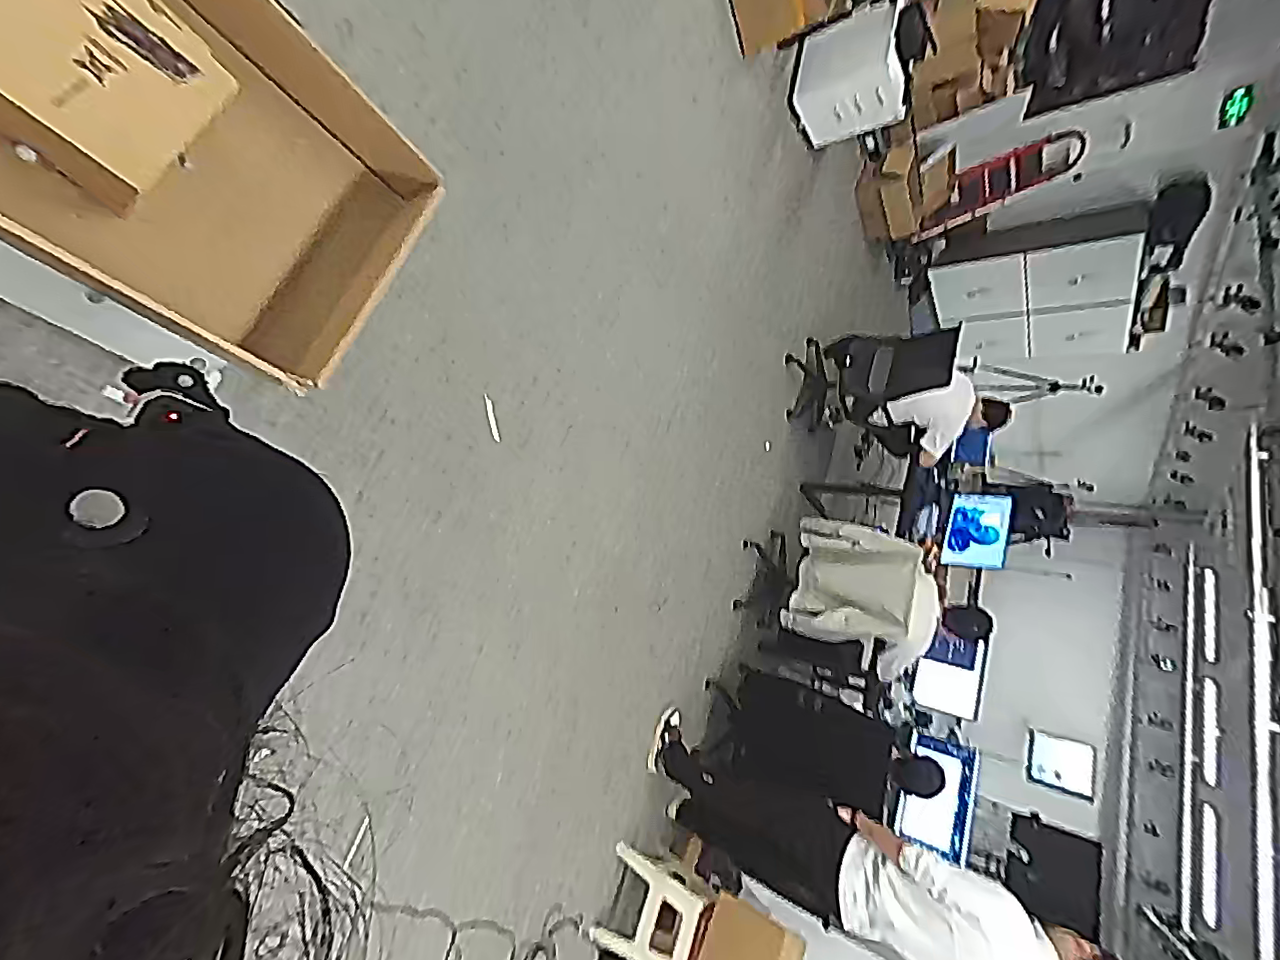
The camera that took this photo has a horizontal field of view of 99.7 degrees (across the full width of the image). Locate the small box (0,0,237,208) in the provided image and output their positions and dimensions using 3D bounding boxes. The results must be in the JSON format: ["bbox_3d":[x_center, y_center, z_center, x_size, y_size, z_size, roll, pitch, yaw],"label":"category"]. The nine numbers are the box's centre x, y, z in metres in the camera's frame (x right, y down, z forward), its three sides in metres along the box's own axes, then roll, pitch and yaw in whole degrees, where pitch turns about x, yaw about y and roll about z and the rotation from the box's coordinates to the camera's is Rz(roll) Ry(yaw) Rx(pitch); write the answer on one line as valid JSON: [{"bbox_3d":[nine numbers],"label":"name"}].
[{"bbox_3d":[-0.597,-0.434,0.590,0.168,0.176,0.179,41,68,-45],"label":"small box"}]
